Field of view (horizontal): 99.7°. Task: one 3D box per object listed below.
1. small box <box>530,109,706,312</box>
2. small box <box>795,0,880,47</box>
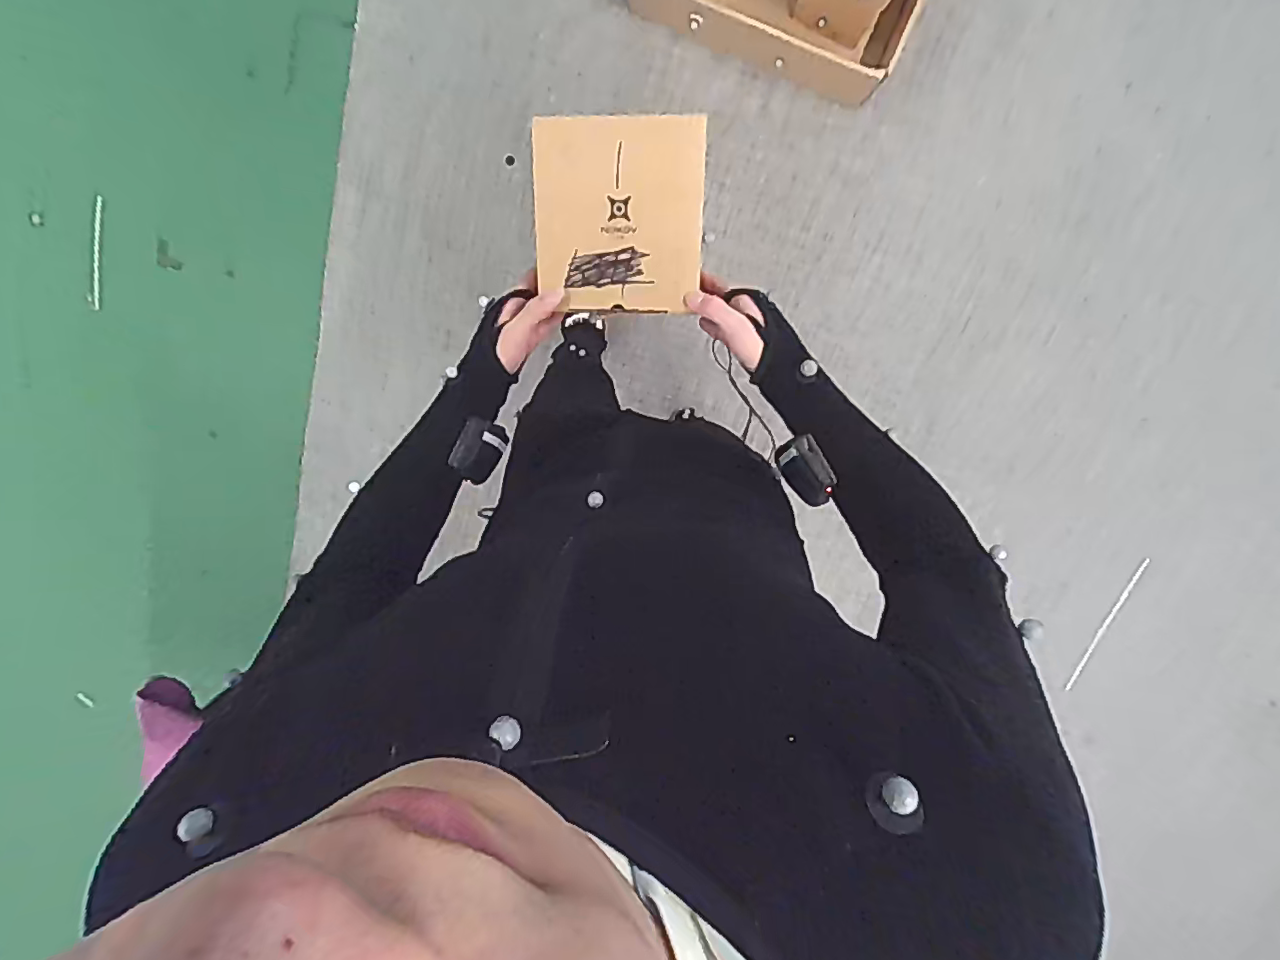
[{"bbox_3d":[-0.015,-0.280,0.595,0.168,0.176,0.179,3,107,5],"label":"small box"},{"bbox_3d":[0.446,-1.073,1.136,0.168,0.176,0.179,23,107,-2],"label":"small box"}]
